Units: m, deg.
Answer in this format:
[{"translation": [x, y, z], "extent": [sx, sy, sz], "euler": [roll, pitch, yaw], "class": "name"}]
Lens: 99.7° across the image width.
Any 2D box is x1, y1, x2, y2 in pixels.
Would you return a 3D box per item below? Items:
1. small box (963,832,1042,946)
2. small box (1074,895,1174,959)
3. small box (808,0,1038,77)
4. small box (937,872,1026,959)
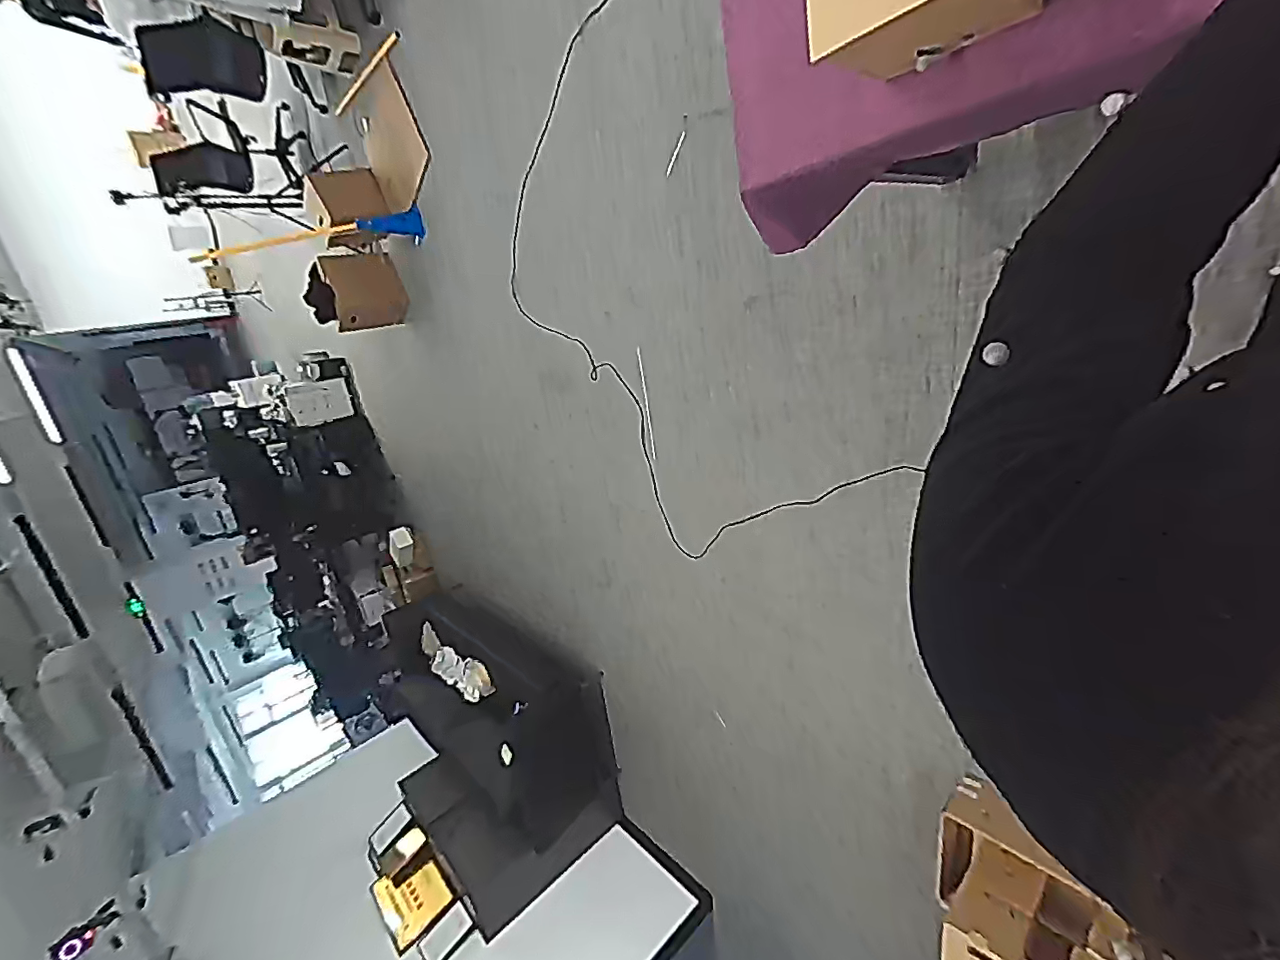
[{"translation": [1.078, 1.209, 1.614], "extent": [0.168, 0.176, 0.179], "euler": [13, 117, 47], "class": "small box"}, {"translation": [1.262, 1.252, 1.416], "extent": [0.168, 0.176, 0.179], "euler": [18, 122, 46], "class": "small box"}, {"translation": [0.284, -0.544, 0.542], "extent": [0.168, 0.176, 0.179], "euler": [10, 117, 48], "class": "small box"}, {"translation": [0.958, 1.261, 1.514], "extent": [0.168, 0.176, 0.179], "euler": [13, 118, 46], "class": "small box"}]
